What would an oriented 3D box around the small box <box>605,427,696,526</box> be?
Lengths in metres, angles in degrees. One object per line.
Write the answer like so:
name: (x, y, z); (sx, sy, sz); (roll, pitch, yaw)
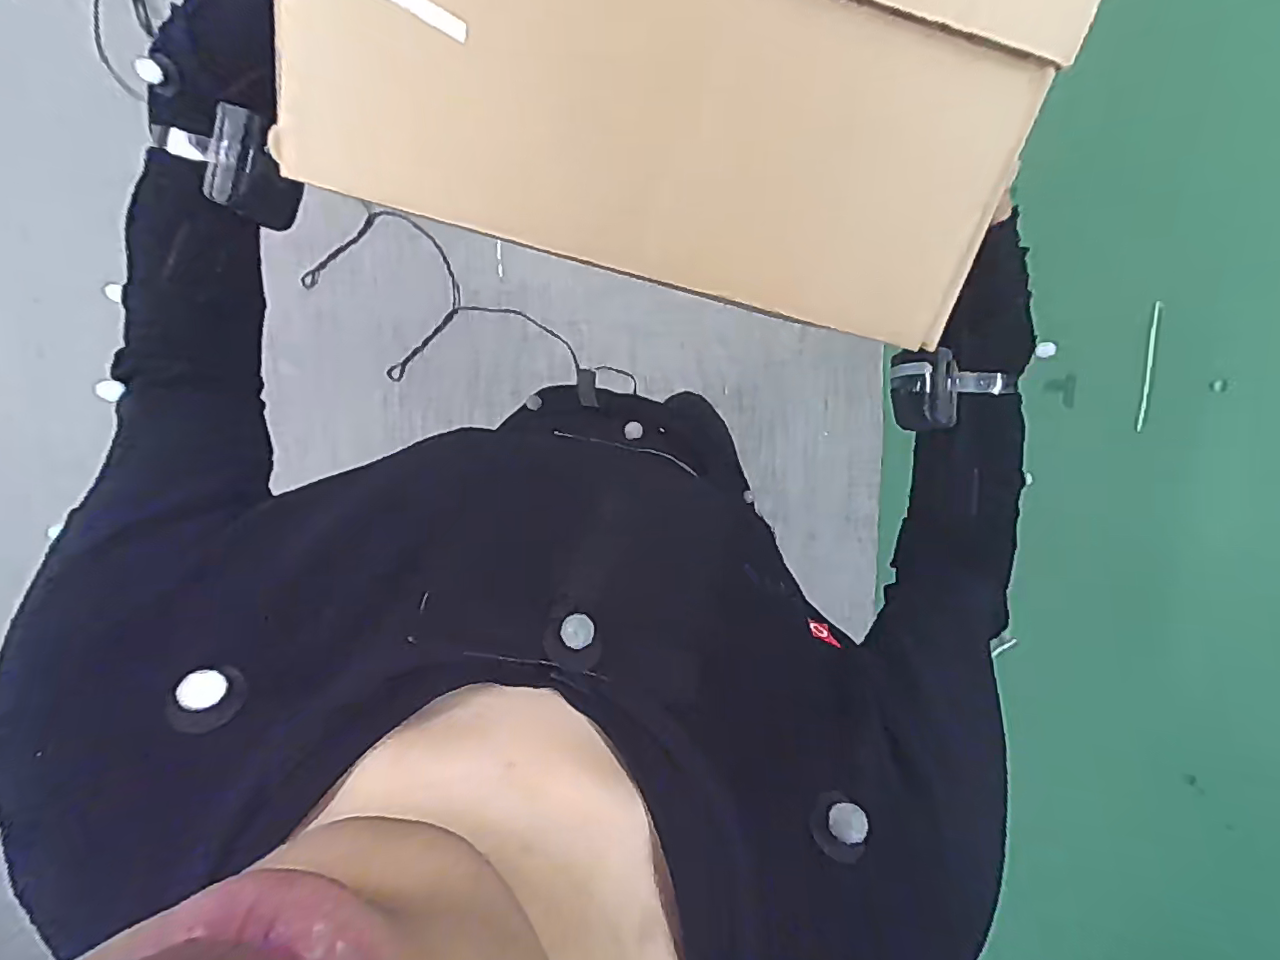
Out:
small box: (0.023, -0.016, 1.411); (0.168, 0.176, 0.179); (32, 101, -12)
